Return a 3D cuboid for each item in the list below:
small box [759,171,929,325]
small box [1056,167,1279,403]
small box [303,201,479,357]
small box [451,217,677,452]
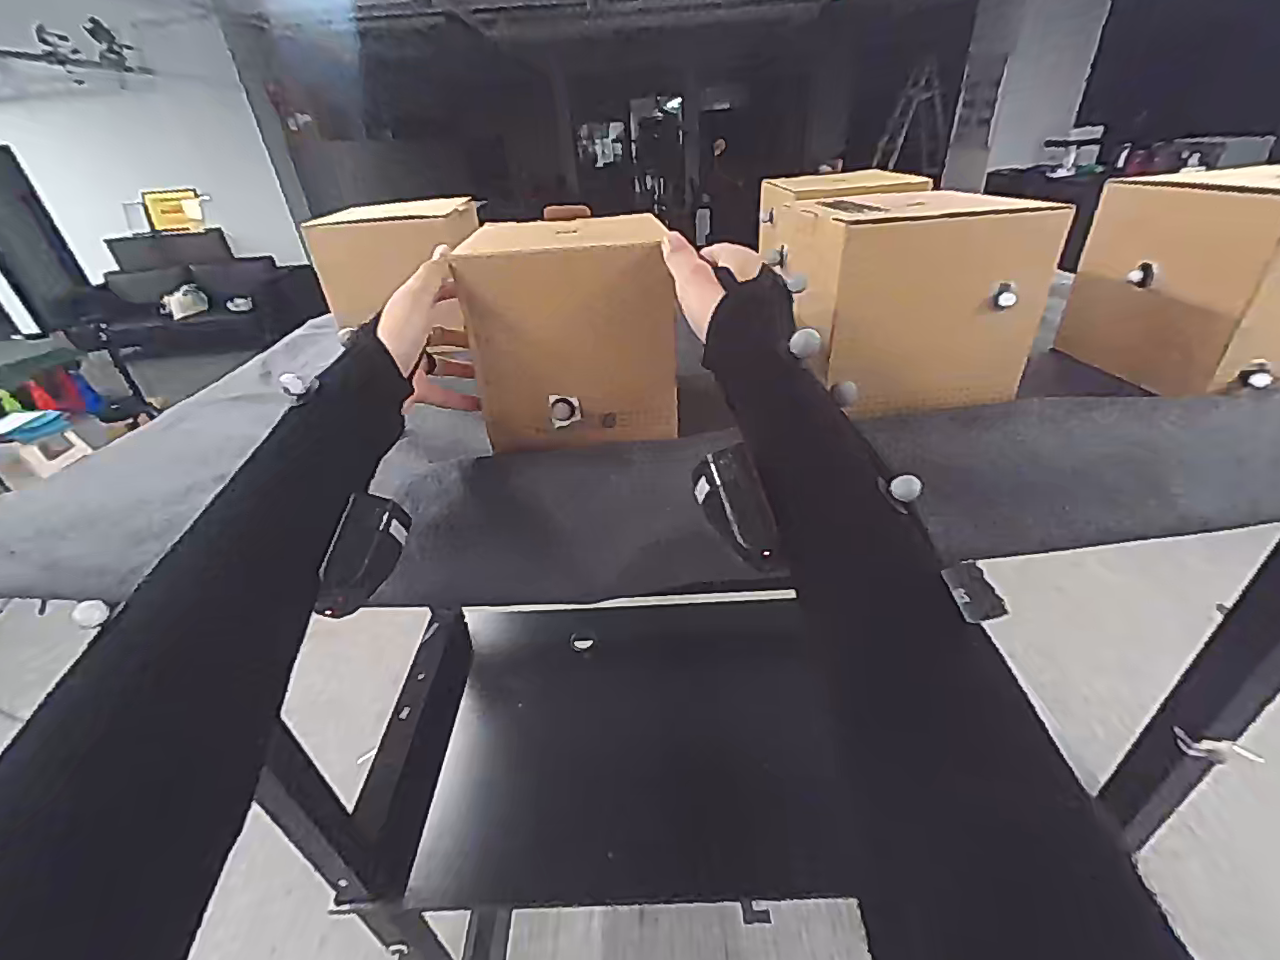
[{"bbox_3d":[0.264,-0.318,0.747,0.168,0.176,0.179,-4,33,0],"label":"small box"},{"bbox_3d":[0.535,-0.175,0.488,0.168,0.176,0.179,-5,31,-1],"label":"small box"},{"bbox_3d":[-0.312,-0.279,0.746,0.179,0.176,0.168,-4,33,-1],"label":"small box"},{"bbox_3d":[-0.059,-0.140,0.500,0.168,0.176,0.179,-5,31,-3],"label":"small box"}]
